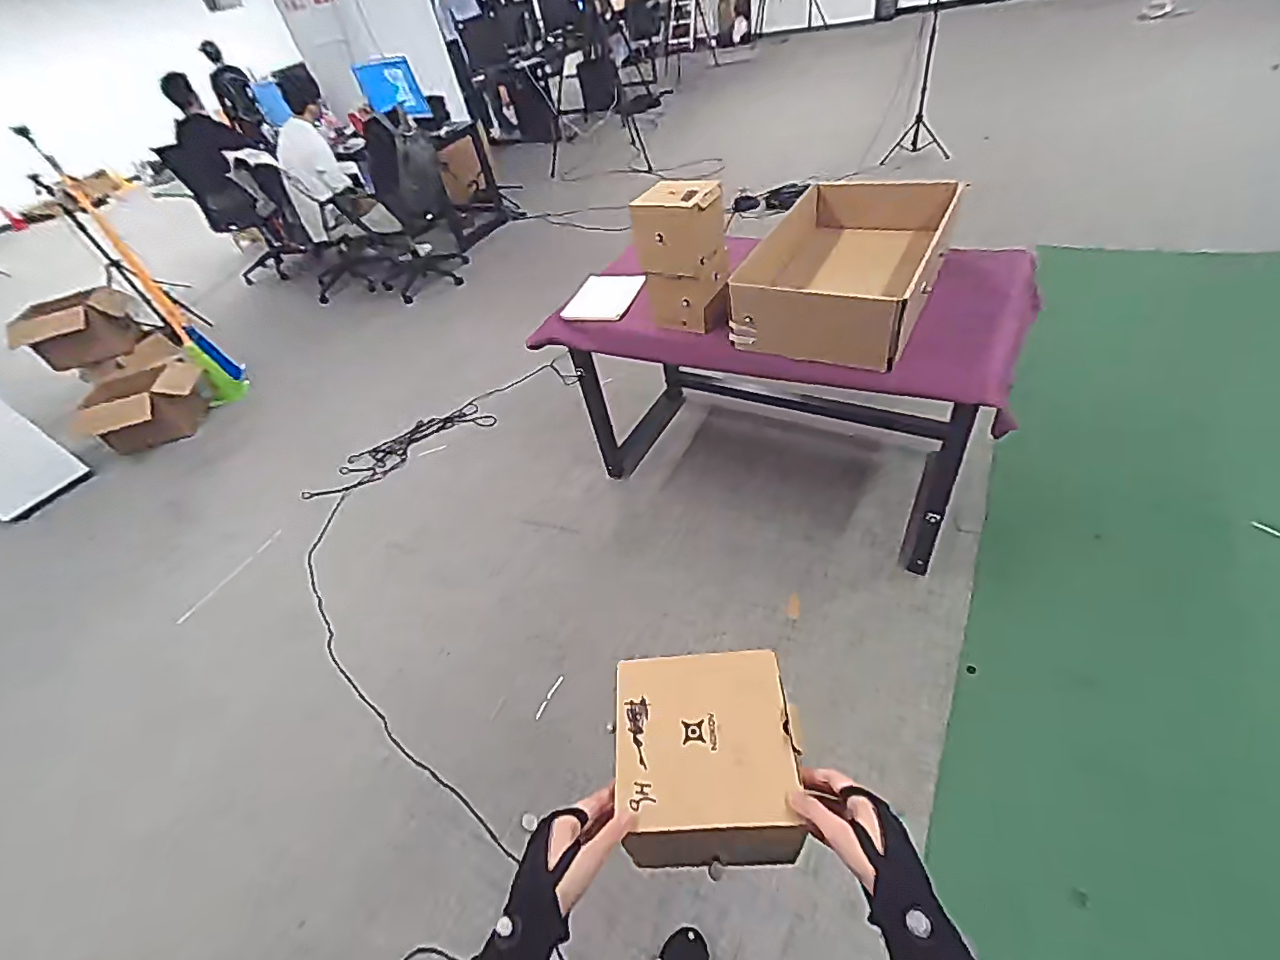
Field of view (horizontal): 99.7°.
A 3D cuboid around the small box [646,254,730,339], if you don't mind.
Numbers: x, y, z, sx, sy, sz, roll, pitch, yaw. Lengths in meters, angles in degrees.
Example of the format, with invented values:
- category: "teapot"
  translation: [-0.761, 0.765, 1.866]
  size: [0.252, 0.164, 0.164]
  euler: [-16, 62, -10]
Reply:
- category: "small box"
  translation: [0.140, -0.509, 1.488]
  size: [0.168, 0.176, 0.179]
  euler: [18, 51, 28]

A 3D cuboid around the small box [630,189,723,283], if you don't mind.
- category: "small box"
  translation: [0.101, -0.619, 1.372]
  size: [0.179, 0.176, 0.168]
  euler: [17, 51, 28]

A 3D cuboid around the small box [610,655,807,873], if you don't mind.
- category: "small box"
  translation: [0.067, 0.308, 0.586]
  size: [0.179, 0.176, 0.168]
  euler: [-5, 43, 4]
